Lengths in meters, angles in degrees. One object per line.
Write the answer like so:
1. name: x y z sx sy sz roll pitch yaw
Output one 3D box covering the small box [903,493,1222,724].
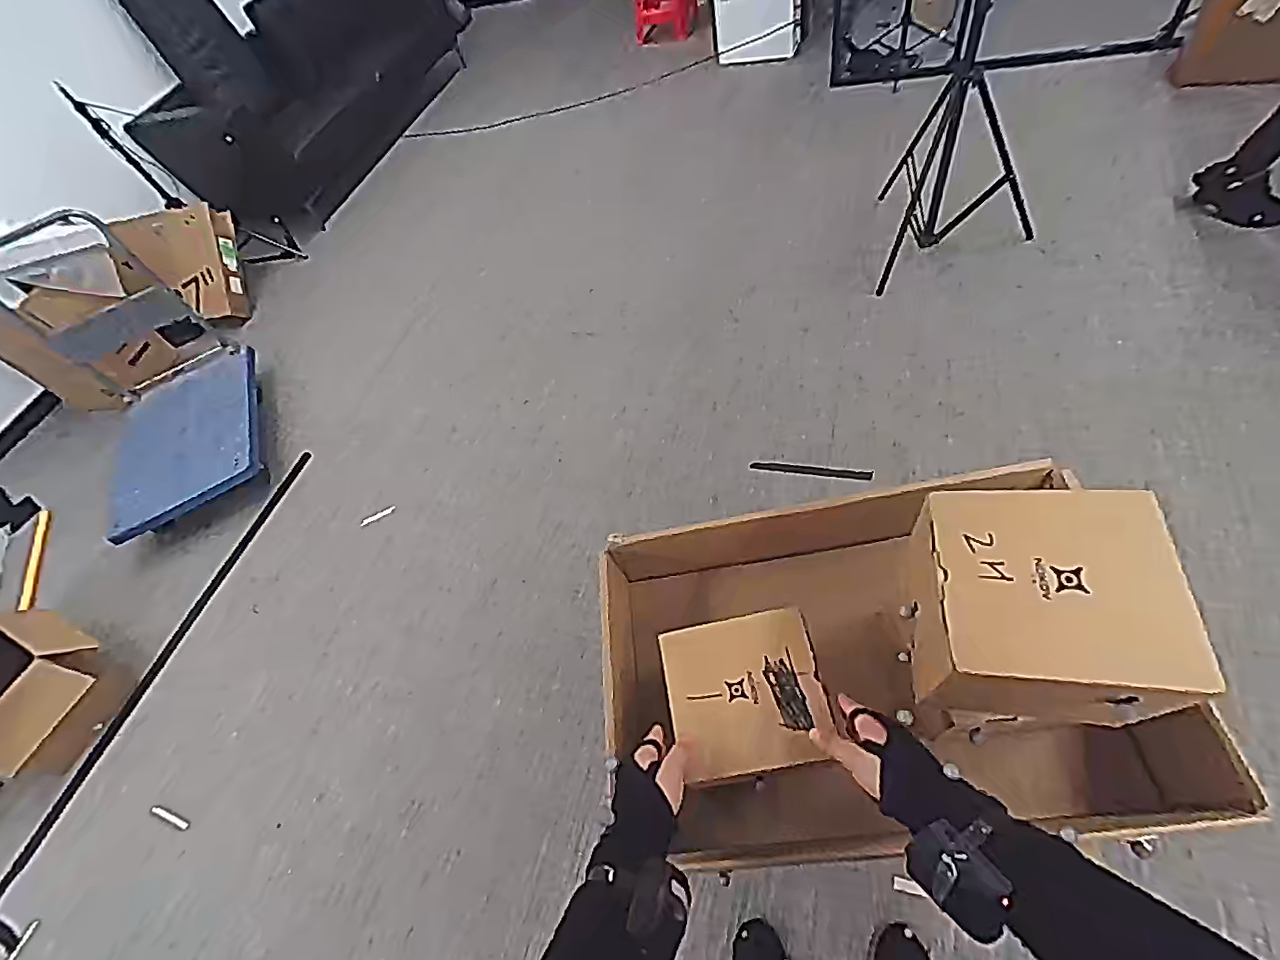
1. small box: 0.361 0.124 0.509 0.179 0.176 0.168 -1 59 17
